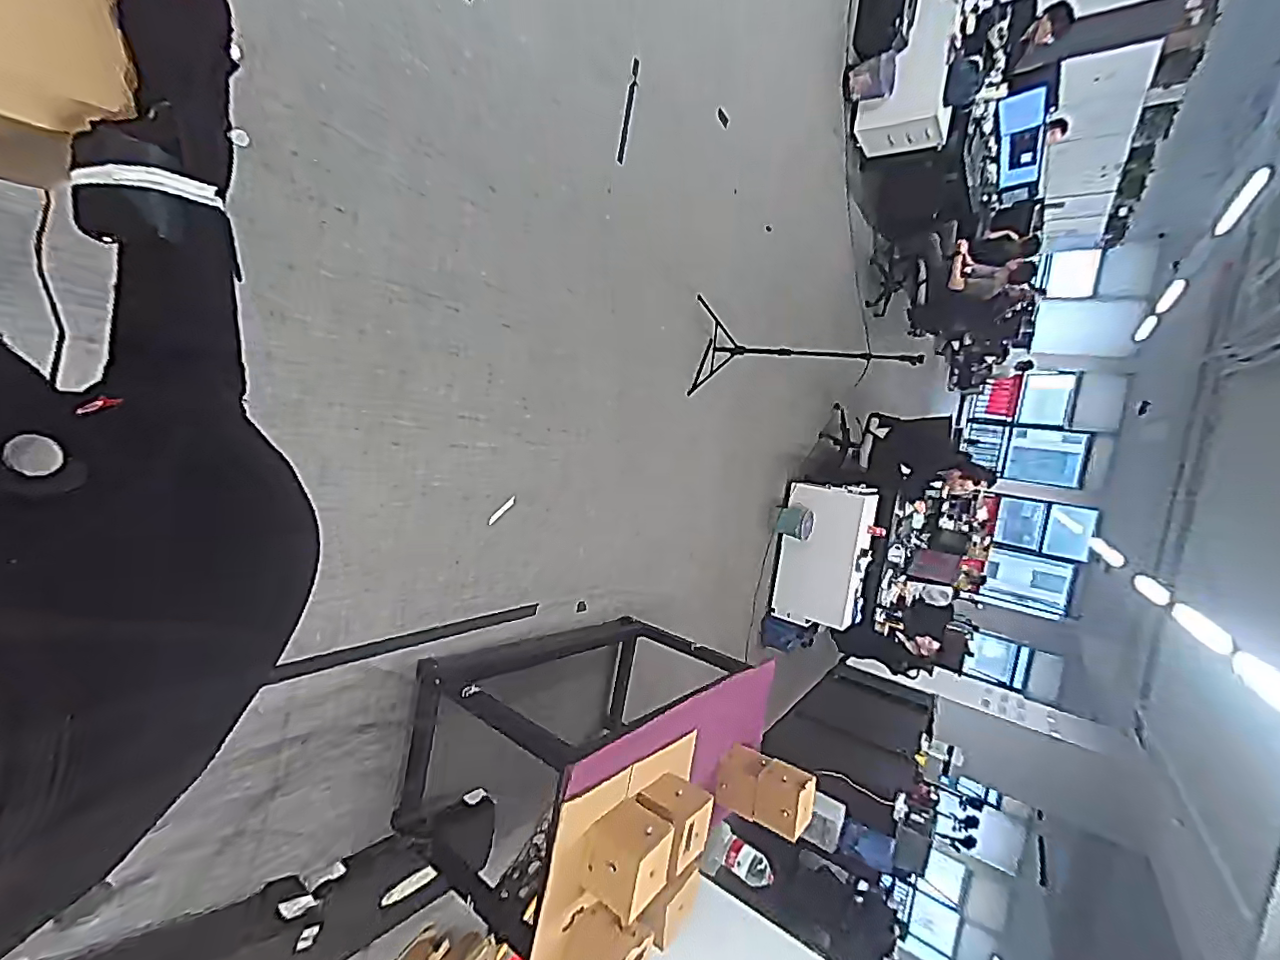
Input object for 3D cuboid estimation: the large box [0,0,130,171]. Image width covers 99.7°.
[{"bbox_3d":[-0.583,-0.409,0.280,0.408,0.320,0.320,-7,109,-55],"label":"large box"}]
